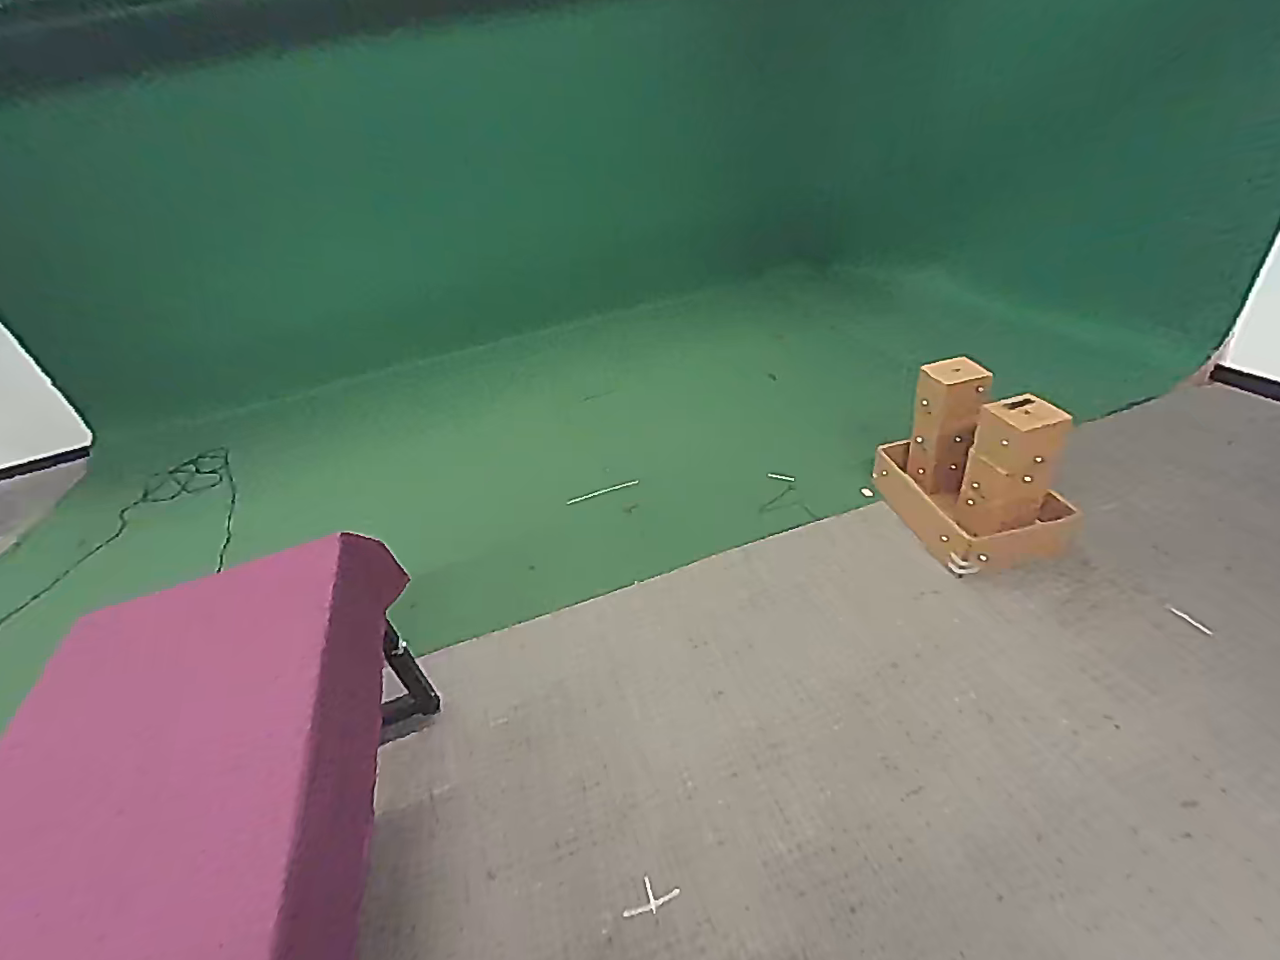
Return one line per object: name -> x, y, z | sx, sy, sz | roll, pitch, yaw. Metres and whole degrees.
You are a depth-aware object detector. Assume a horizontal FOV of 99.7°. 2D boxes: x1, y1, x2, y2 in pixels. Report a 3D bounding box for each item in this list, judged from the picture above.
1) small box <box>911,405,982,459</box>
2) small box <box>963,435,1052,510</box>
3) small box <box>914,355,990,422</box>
small box -> 1.175, -0.204, 2.090 | 0.179, 0.176, 0.168 | -12, 36, 2
small box -> 1.230, -0.025, 1.824 | 0.179, 0.176, 0.168 | -14, 34, -2
small box -> 1.144, -0.336, 1.996 | 0.179, 0.176, 0.168 | -13, 36, 0
